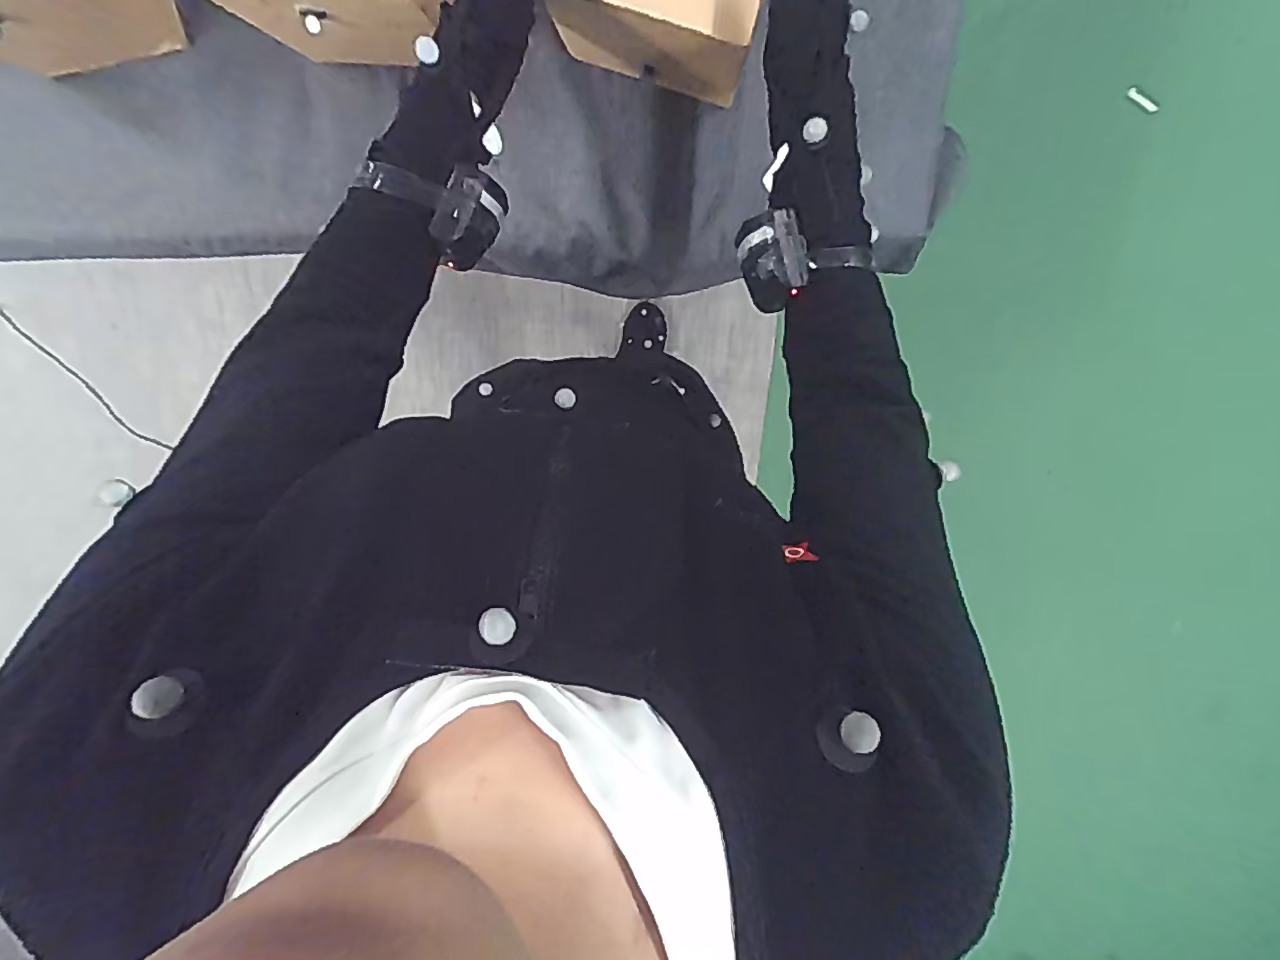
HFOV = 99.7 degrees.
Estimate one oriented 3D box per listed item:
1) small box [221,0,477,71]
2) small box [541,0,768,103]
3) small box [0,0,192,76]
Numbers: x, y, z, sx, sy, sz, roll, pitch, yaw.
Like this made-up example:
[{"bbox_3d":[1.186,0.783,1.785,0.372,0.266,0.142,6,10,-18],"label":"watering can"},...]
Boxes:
[{"bbox_3d":[-0.258,-0.482,0.469,0.179,0.176,0.168,4,112,2],"label":"small box"},{"bbox_3d":[0.028,-0.454,0.462,0.179,0.176,0.168,16,112,-3],"label":"small box"},{"bbox_3d":[-0.574,-0.496,0.486,0.179,0.176,0.168,-7,112,5],"label":"small box"}]
